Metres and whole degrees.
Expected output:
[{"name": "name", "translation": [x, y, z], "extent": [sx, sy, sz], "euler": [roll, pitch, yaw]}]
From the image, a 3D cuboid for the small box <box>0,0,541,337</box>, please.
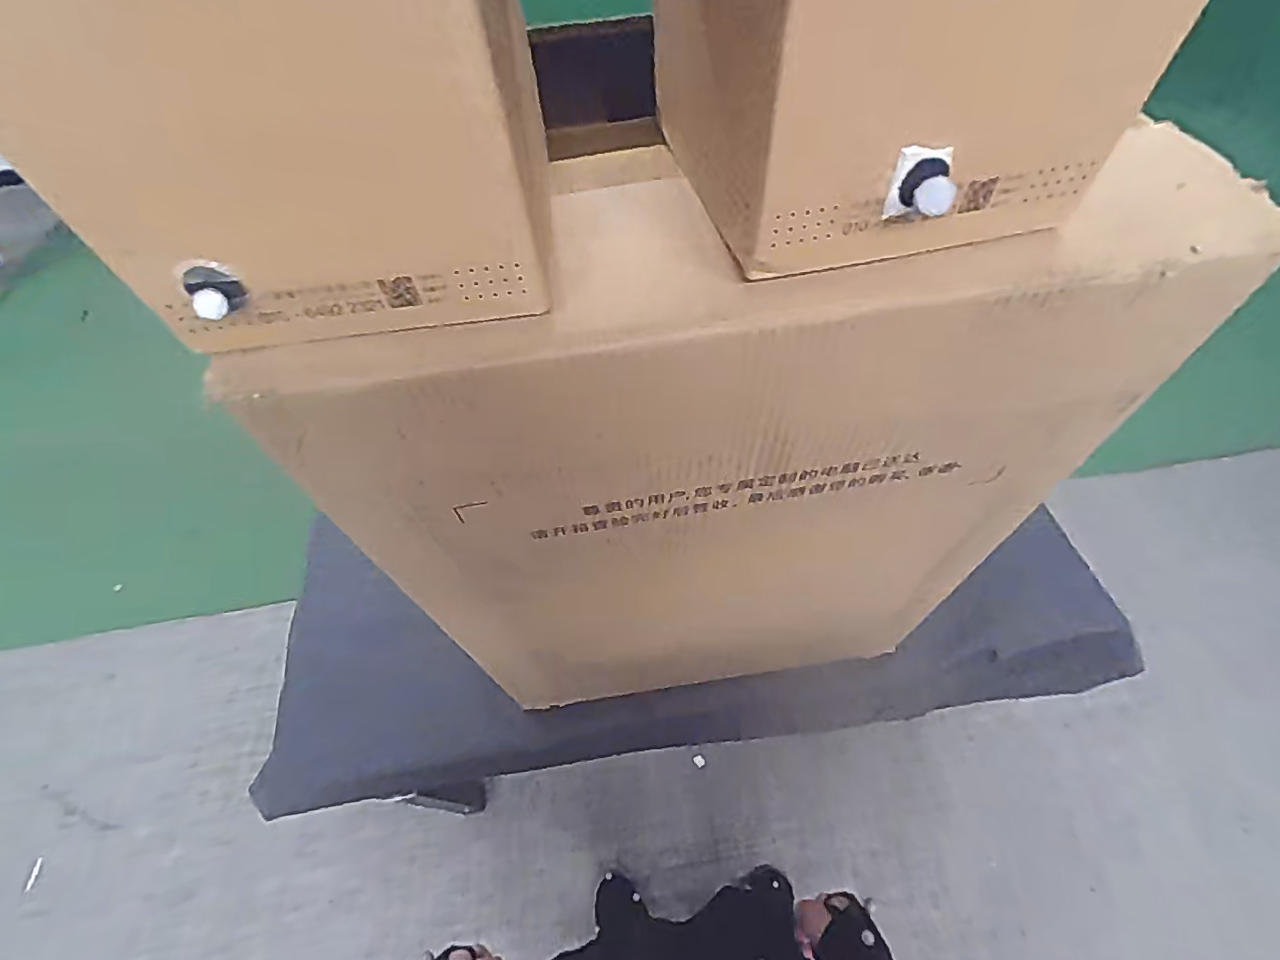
[{"name": "small box", "translation": [-0.140, -0.177, 0.231], "extent": [0.168, 0.176, 0.179], "euler": [-7, 55, 0]}]
